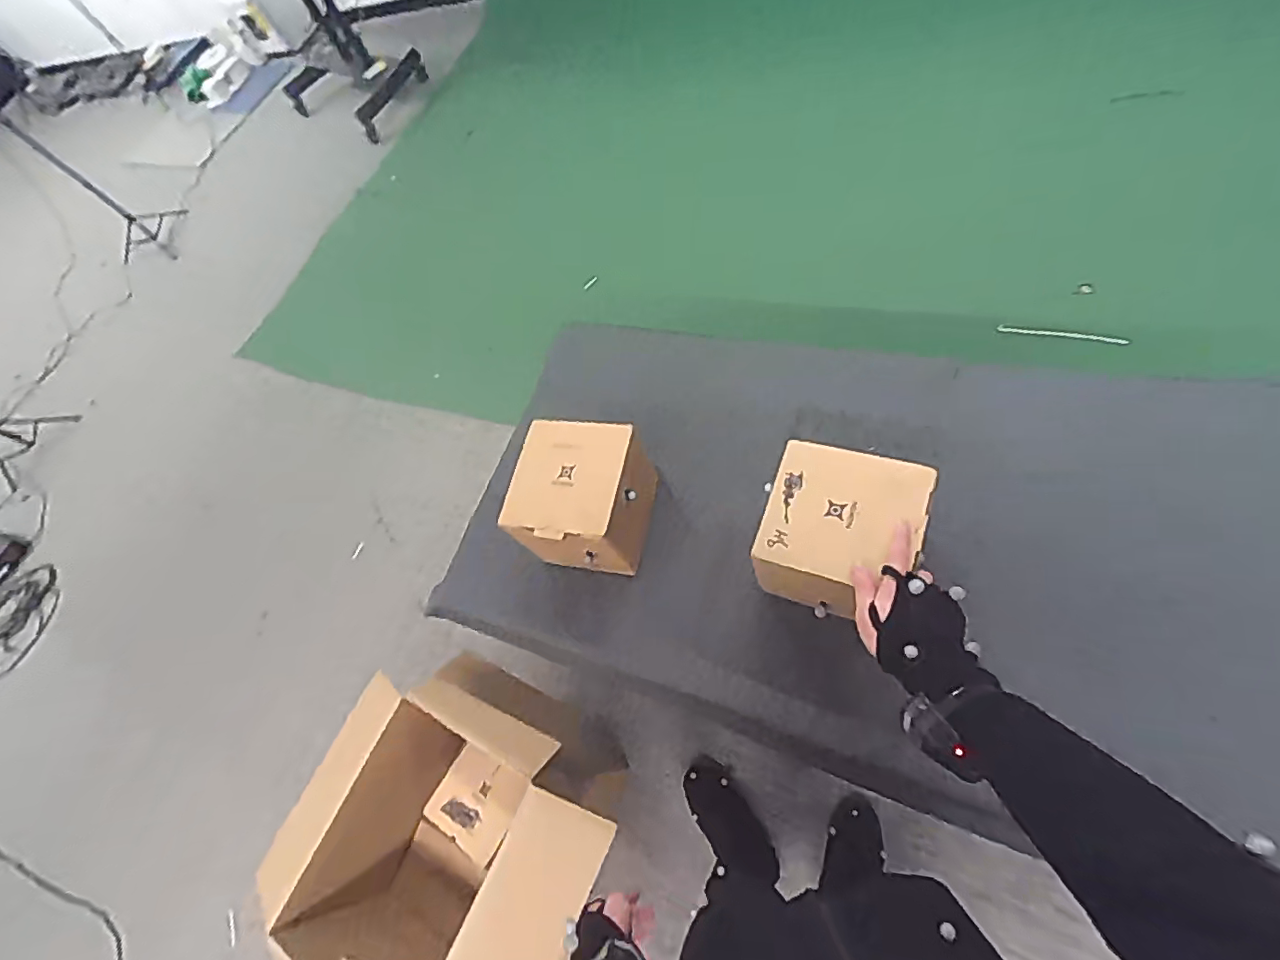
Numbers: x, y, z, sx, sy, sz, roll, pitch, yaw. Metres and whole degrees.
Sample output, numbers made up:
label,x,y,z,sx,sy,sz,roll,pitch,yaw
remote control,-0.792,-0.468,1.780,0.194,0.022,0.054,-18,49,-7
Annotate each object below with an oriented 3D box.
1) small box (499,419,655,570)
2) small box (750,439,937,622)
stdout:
label,x,y,z,sx,sy,sz,roll,pitch,yaw
small box,-0.084,0.027,0.836,0.168,0.176,0.179,5,64,18
small box,0.258,0.073,0.703,0.179,0.176,0.168,15,69,23
